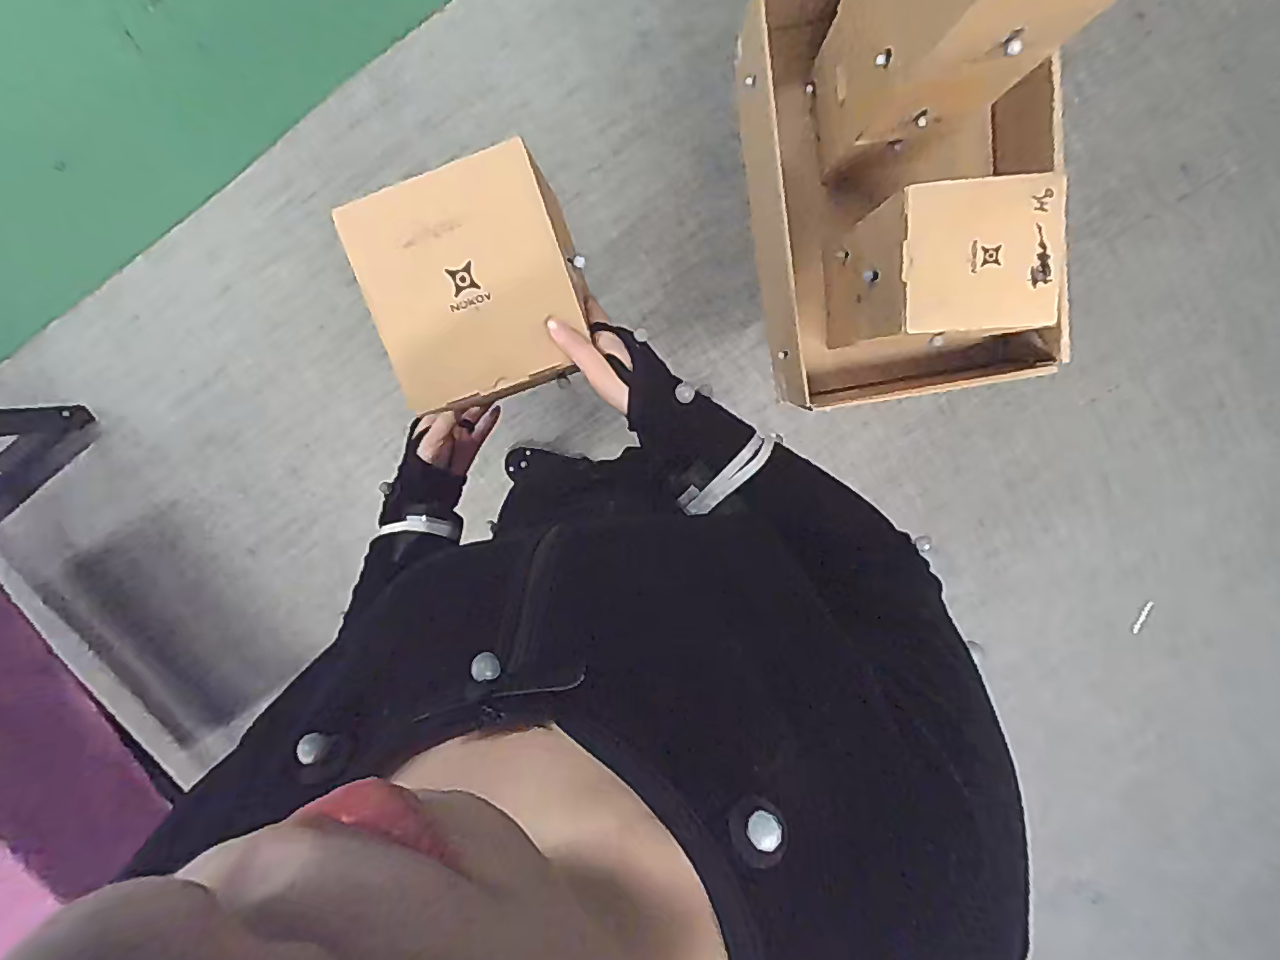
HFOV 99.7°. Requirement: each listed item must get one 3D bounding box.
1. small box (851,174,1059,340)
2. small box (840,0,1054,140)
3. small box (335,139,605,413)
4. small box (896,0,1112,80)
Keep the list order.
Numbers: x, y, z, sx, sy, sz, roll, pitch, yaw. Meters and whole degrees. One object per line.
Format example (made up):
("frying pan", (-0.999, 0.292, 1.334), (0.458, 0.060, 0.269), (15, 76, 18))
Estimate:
("small box", (0.386, -0.273, 0.698), (0.179, 0.176, 0.168), (-2, 101, 3))
("small box", (0.352, -0.548, 0.648), (0.168, 0.176, 0.179), (-10, 102, 4))
("small box", (-0.138, -0.178, 0.516), (0.168, 0.176, 0.179), (-17, 101, 4))
("small box", (0.345, -0.512, 0.487), (0.168, 0.176, 0.179), (-10, 102, 4))
